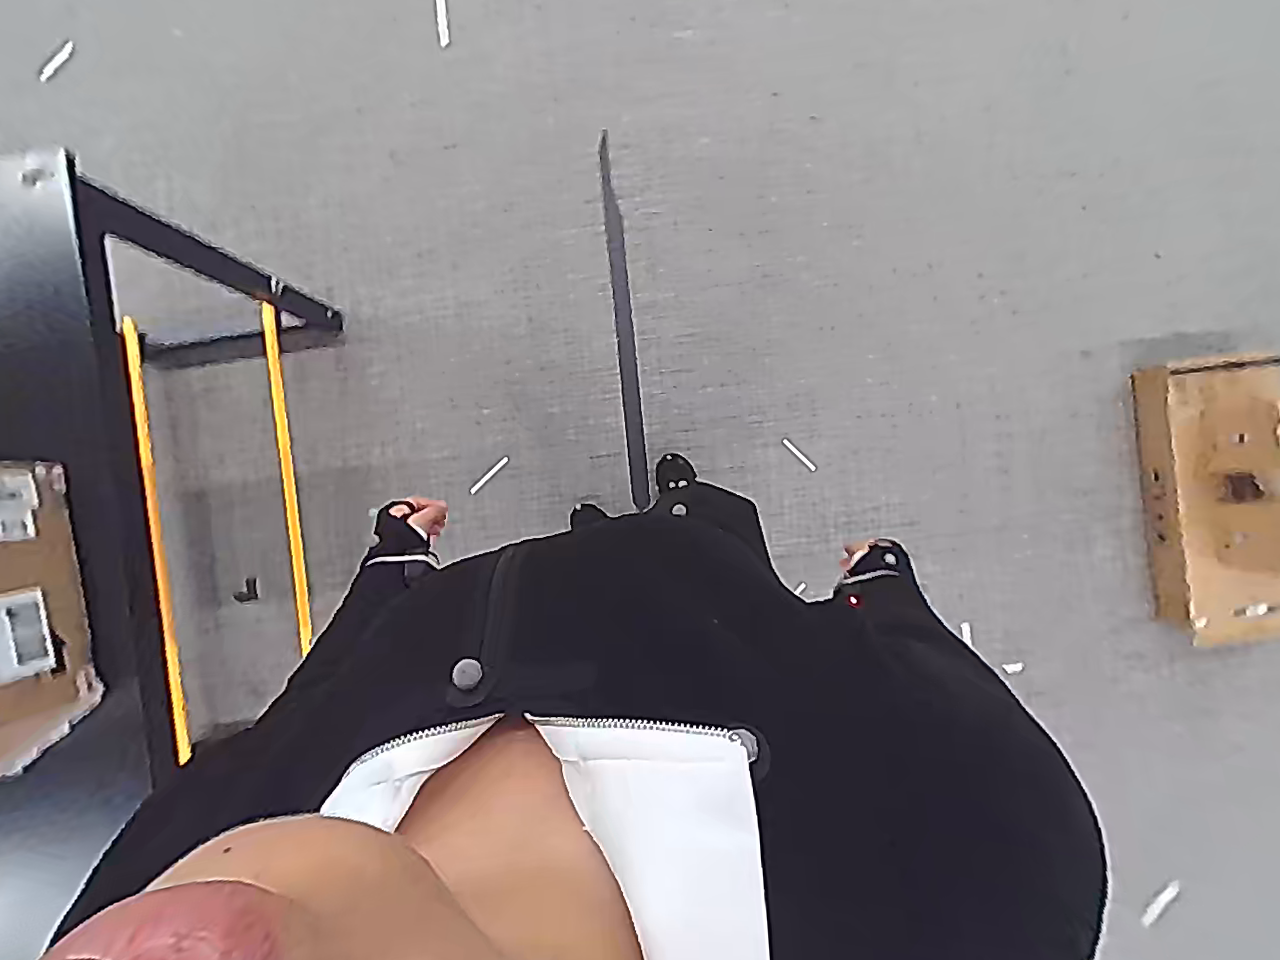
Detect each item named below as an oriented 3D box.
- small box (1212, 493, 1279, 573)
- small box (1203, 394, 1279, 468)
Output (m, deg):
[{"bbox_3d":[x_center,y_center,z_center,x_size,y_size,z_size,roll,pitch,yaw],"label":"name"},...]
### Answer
[{"bbox_3d":[1.555,0.124,1.301,0.179,0.176,0.168,-8,90,0],"label":"small box"},{"bbox_3d":[1.516,-0.120,1.298,0.179,0.176,0.168,-9,91,1],"label":"small box"}]
